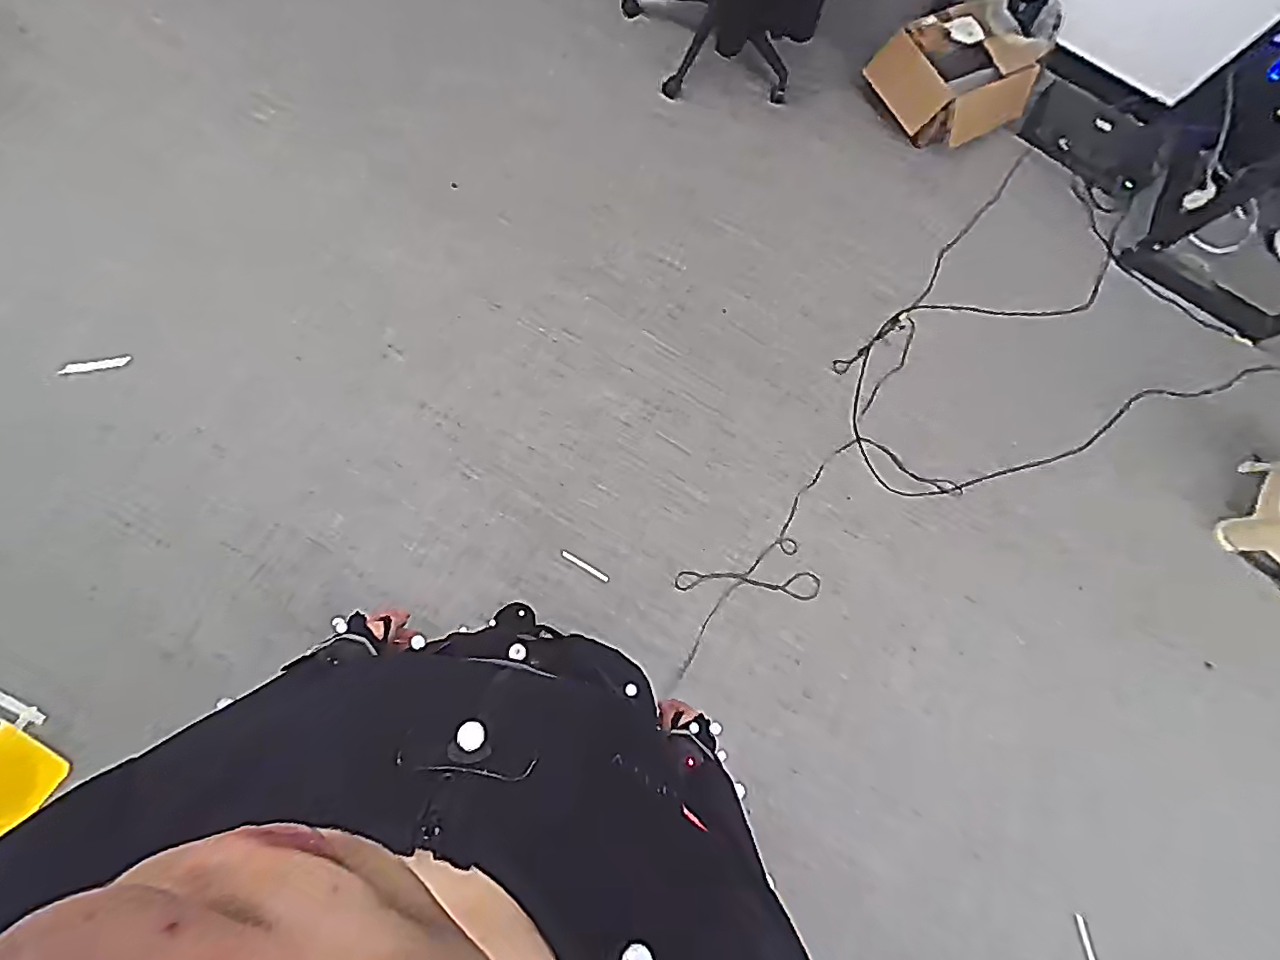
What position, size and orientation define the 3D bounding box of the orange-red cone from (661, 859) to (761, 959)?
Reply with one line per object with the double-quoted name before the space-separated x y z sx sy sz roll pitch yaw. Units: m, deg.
"orange-red cone" 0.189 0.976 1.089 0.199 0.360 0.198 26 74 0
